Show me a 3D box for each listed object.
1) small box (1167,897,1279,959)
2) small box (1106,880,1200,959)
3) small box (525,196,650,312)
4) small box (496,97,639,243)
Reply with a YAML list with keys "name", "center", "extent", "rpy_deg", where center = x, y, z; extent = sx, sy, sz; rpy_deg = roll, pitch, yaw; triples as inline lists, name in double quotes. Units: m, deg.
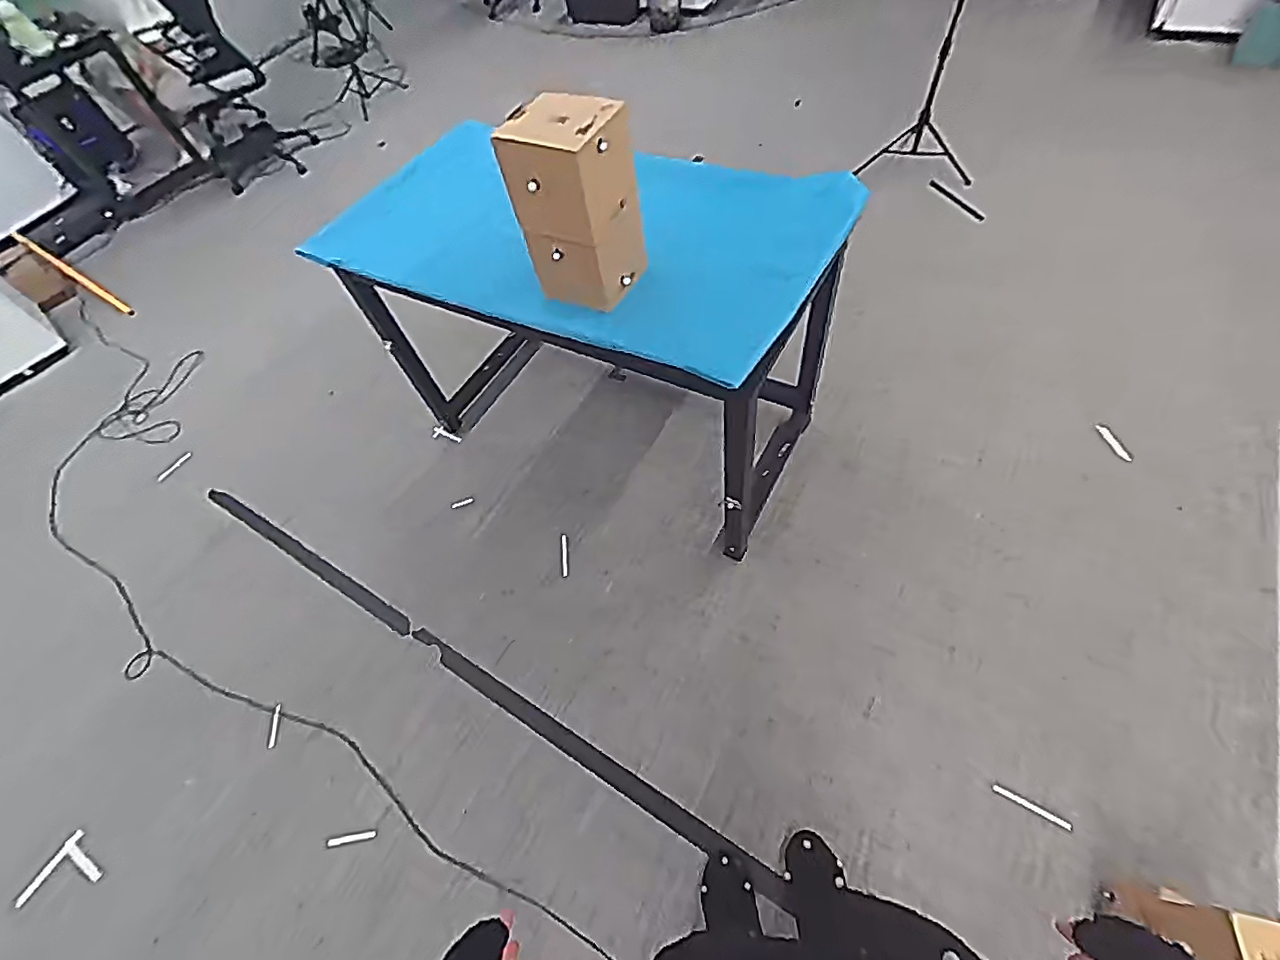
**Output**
- name: "small box"
  center: [0.958, 0.752, 0.809]
  extent: [0.179, 0.176, 0.168]
  rpy_deg: [9, 58, 17]
- name: "small box"
  center: [0.970, 0.839, 0.949]
  extent: [0.179, 0.176, 0.168]
  rpy_deg: [22, 64, 21]
- name: "small box"
  center: [-0.099, -0.472, 1.107]
  extent: [0.179, 0.176, 0.168]
  rpy_deg: [22, 64, 22]
- name: "small box"
  center: [-0.118, -0.550, 0.966]
  extent: [0.179, 0.176, 0.168]
  rpy_deg: [19, 62, 19]
